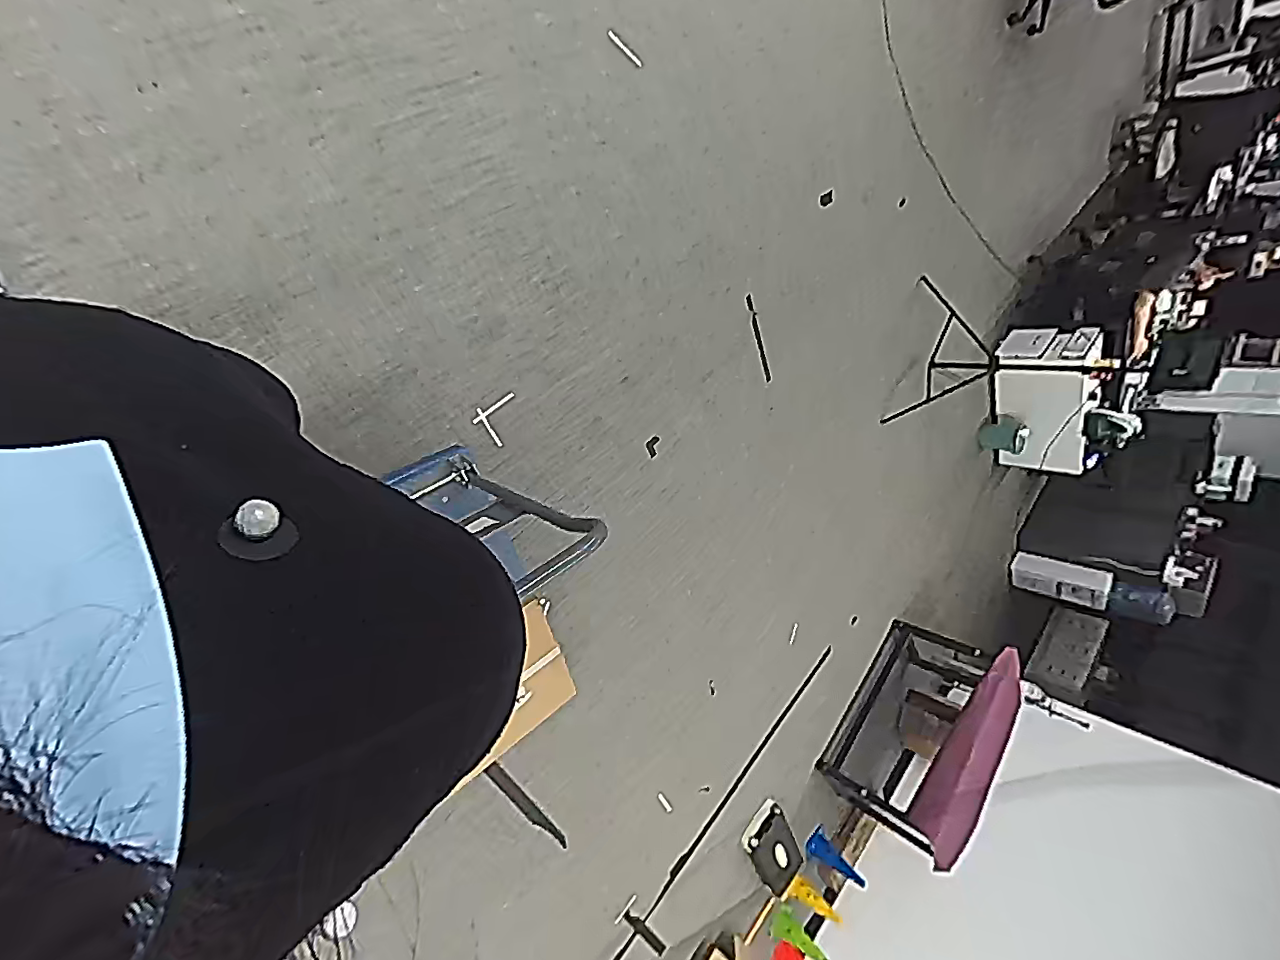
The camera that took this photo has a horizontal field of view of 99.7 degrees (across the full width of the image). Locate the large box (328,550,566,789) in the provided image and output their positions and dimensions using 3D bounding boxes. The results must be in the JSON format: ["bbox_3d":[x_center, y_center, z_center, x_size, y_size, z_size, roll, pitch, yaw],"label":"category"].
[{"bbox_3d":[-0.466,0.434,1.333,0.408,0.320,0.320,-33,121,-32],"label":"large box"}]
